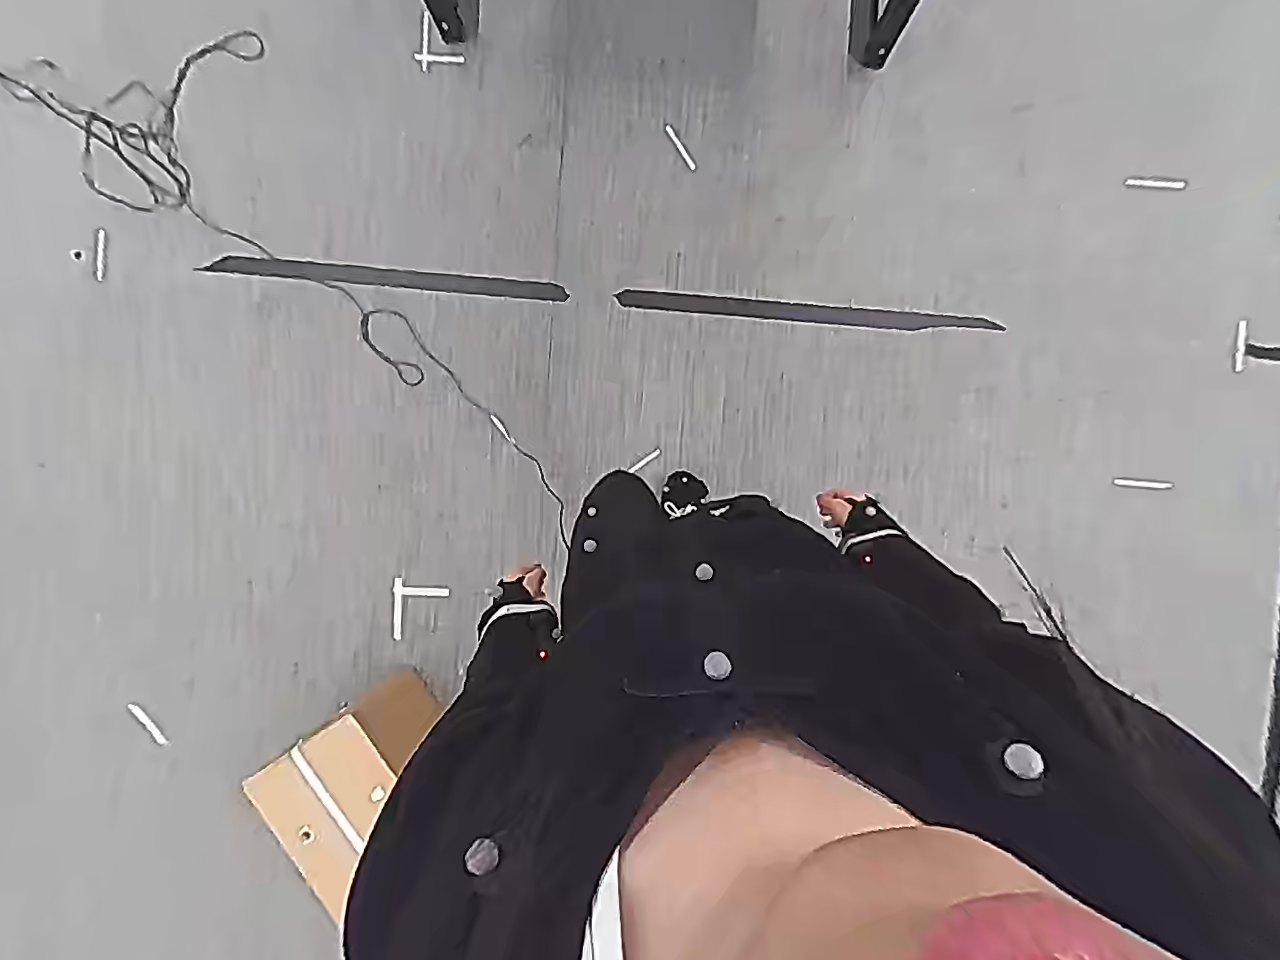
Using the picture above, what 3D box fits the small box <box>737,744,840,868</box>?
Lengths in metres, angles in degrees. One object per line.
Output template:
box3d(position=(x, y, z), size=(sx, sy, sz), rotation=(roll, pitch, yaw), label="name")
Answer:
box3d(position=(0.375, 0.829, 1.394), size=(0.168, 0.176, 0.179), rotation=(-40, 90, 2), label="small box")
